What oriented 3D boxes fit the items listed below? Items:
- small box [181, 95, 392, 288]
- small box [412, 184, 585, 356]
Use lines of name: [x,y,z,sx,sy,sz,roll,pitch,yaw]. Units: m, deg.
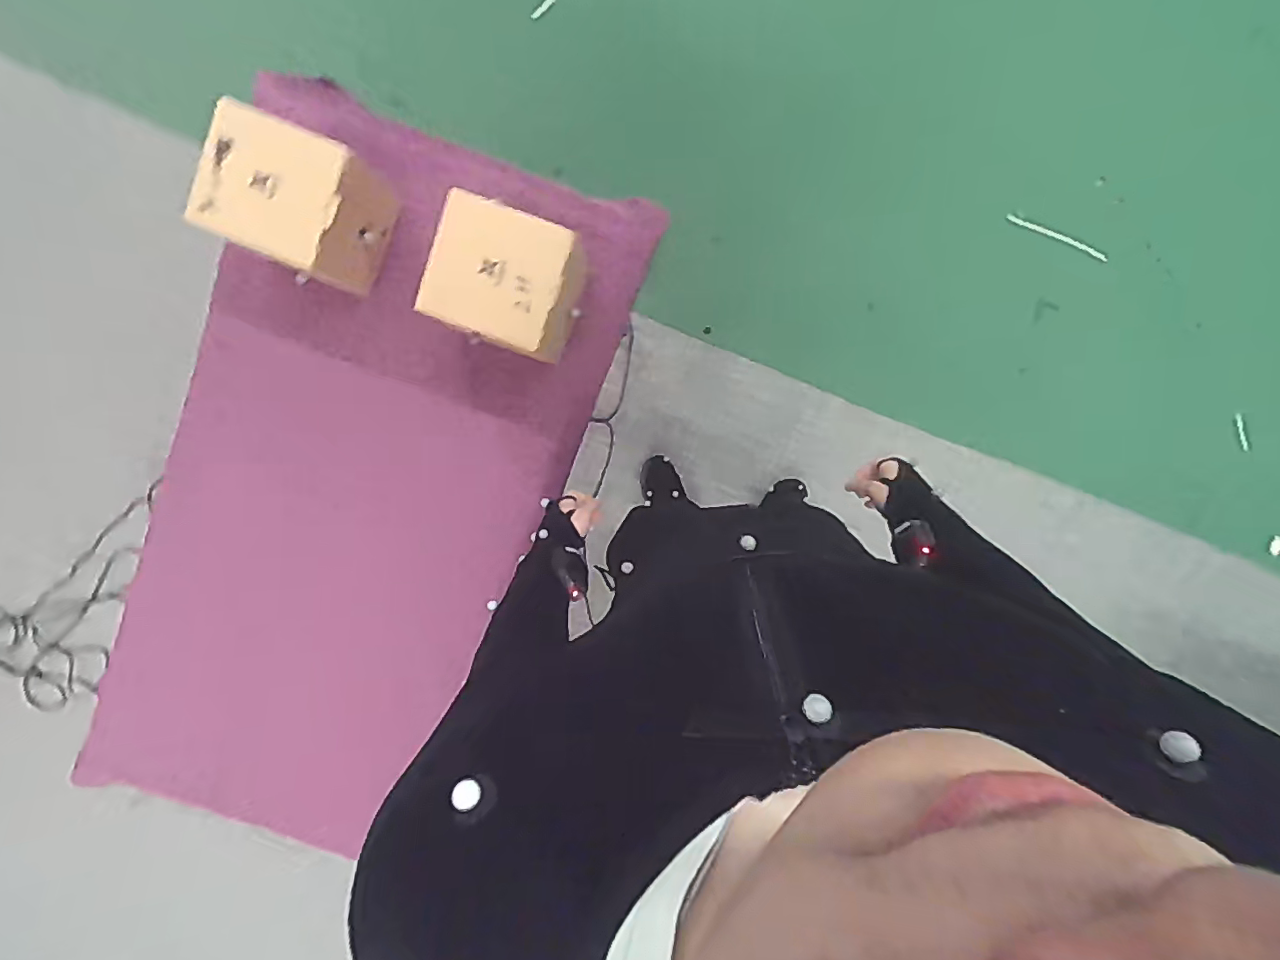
small box: [-0.492,-0.397,0.782,0.179,0.176,0.168,21,95,-5]
small box: [-0.195,-0.290,0.791,0.179,0.176,0.168,20,97,-1]
